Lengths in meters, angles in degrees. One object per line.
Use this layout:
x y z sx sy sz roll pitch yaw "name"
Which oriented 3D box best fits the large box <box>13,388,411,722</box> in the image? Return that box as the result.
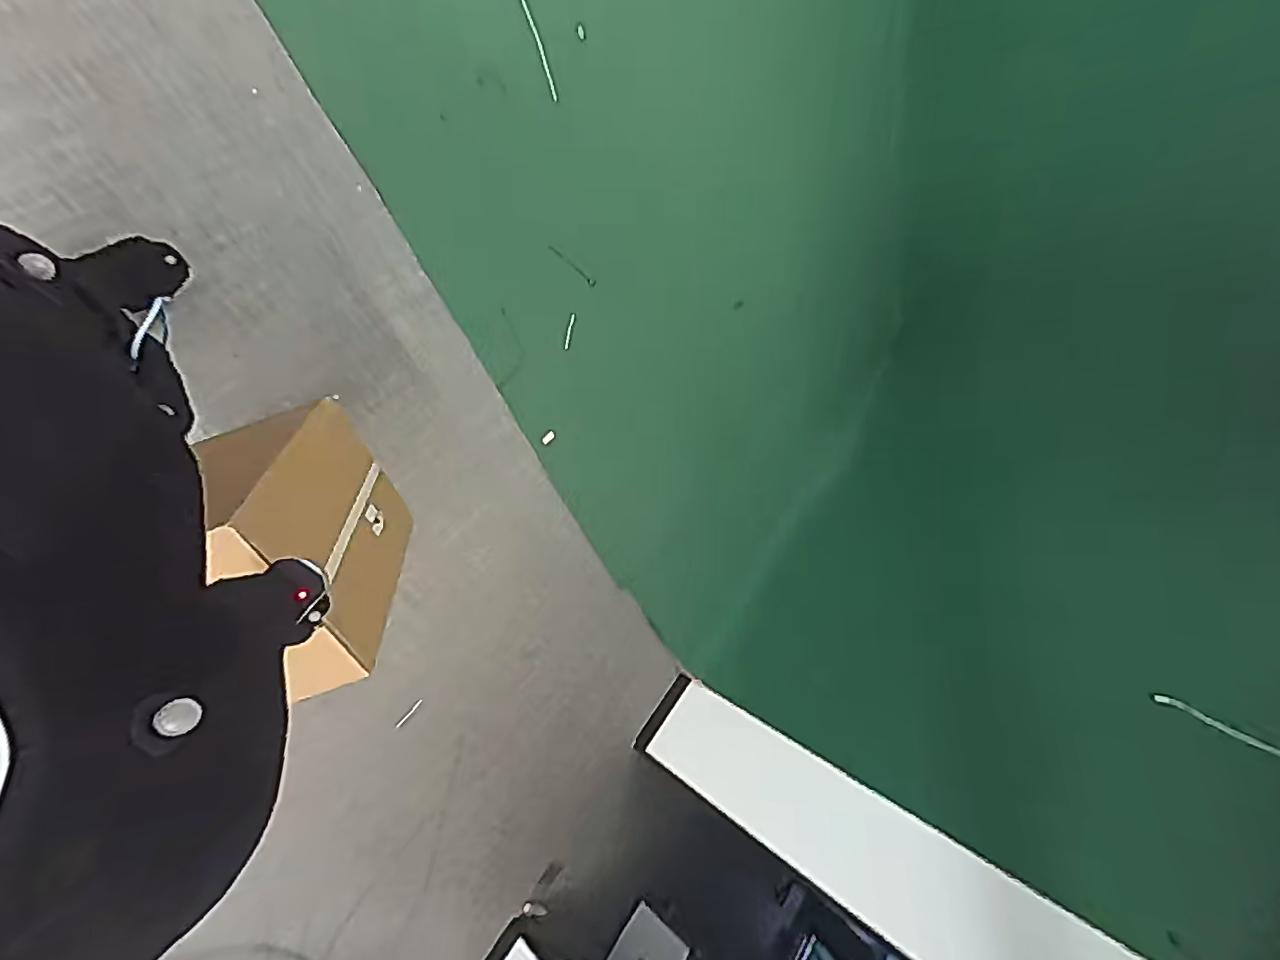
-0.631 0.105 0.902 0.320 0.408 0.320 -19 123 -1 "large box"
